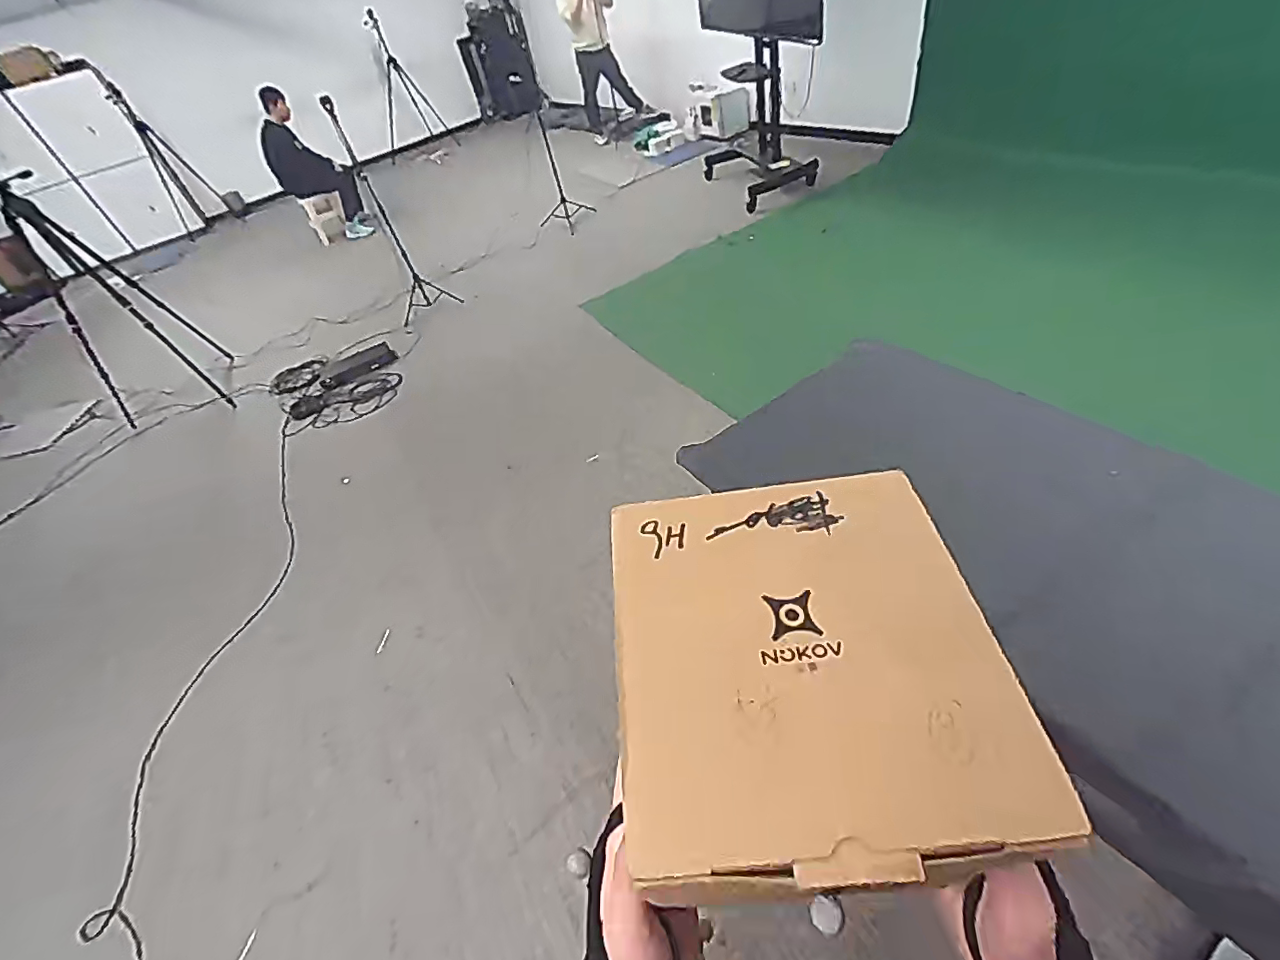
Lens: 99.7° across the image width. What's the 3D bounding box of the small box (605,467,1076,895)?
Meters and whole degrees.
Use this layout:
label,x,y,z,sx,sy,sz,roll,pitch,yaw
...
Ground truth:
label,x,y,z,sx,sy,sz,roll,pitch,yaw
small box,0.073,0.118,0.302,0.168,0.176,0.179,-6,51,1
